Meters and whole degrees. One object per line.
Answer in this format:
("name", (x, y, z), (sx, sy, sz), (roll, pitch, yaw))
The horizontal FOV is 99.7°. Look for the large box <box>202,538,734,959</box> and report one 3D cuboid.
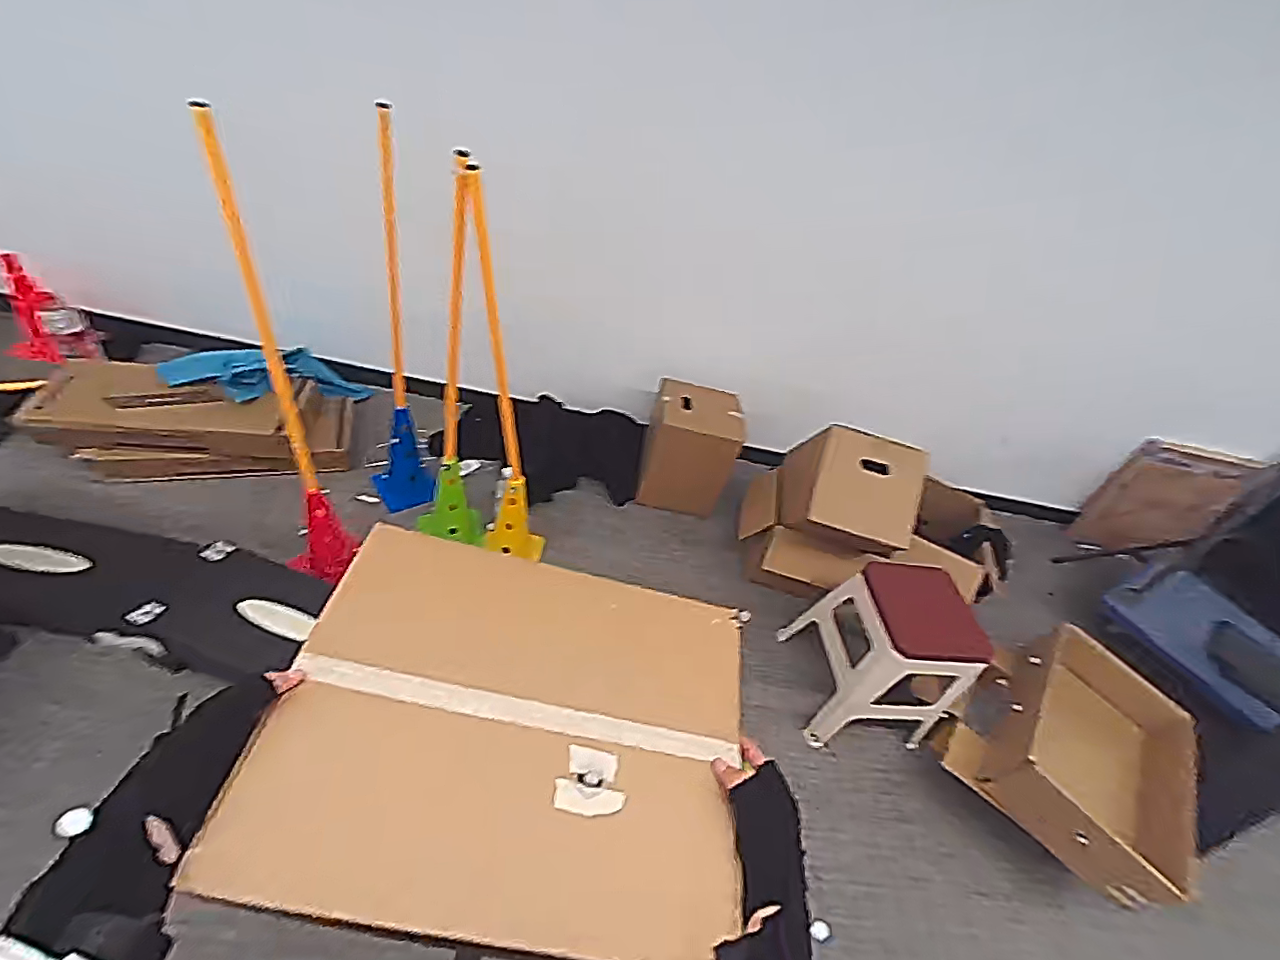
("large box", (-0.141, 0.315, 0.606), (0.408, 0.320, 0.320), (16, 47, -6))
